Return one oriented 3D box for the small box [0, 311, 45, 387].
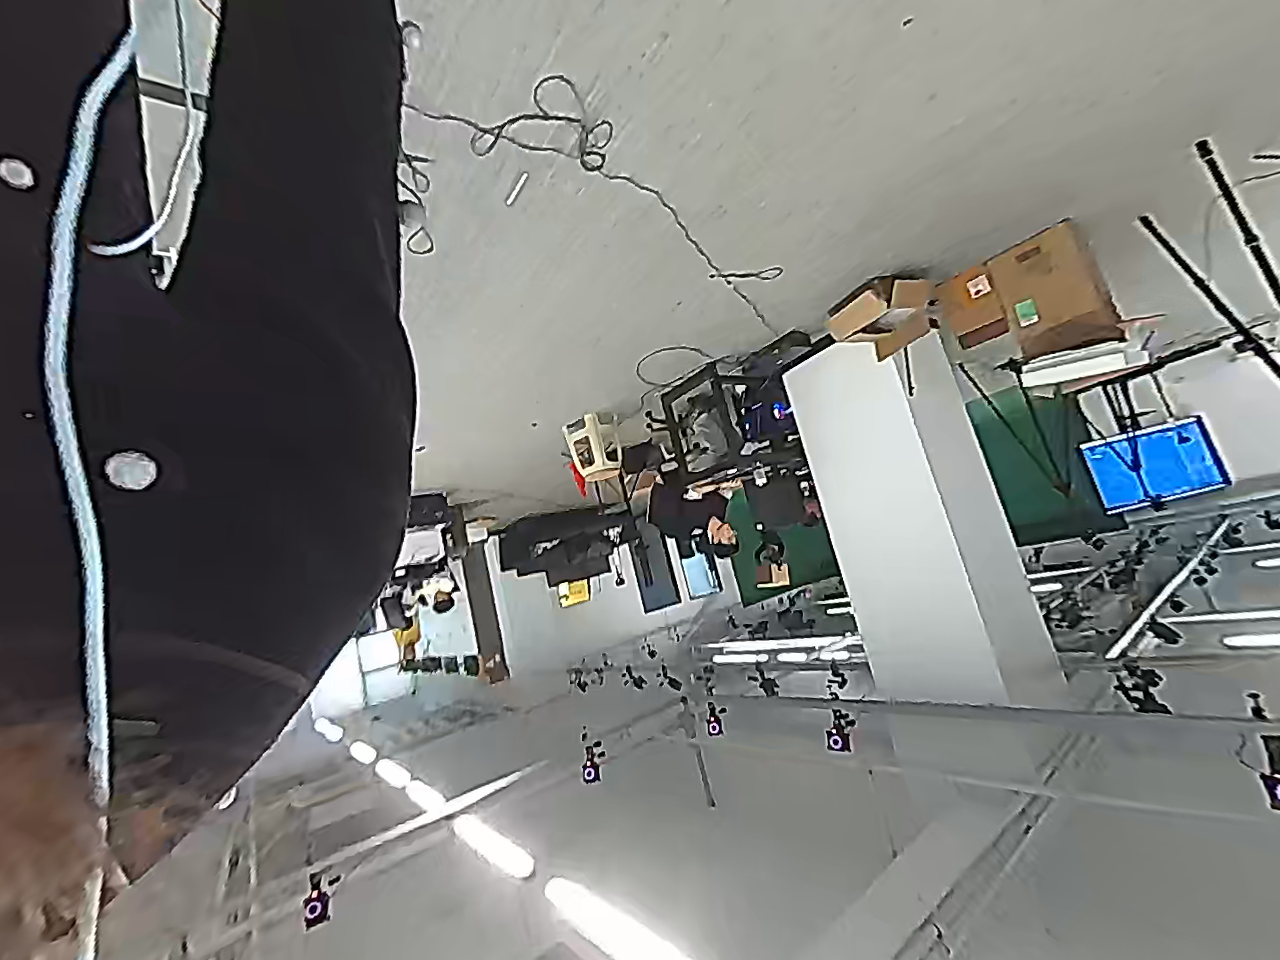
[{"bbox_3d":[-1.848,-0.374,1.536,0.179,0.176,0.168,-5,167,-35],"label":"small box"}]
